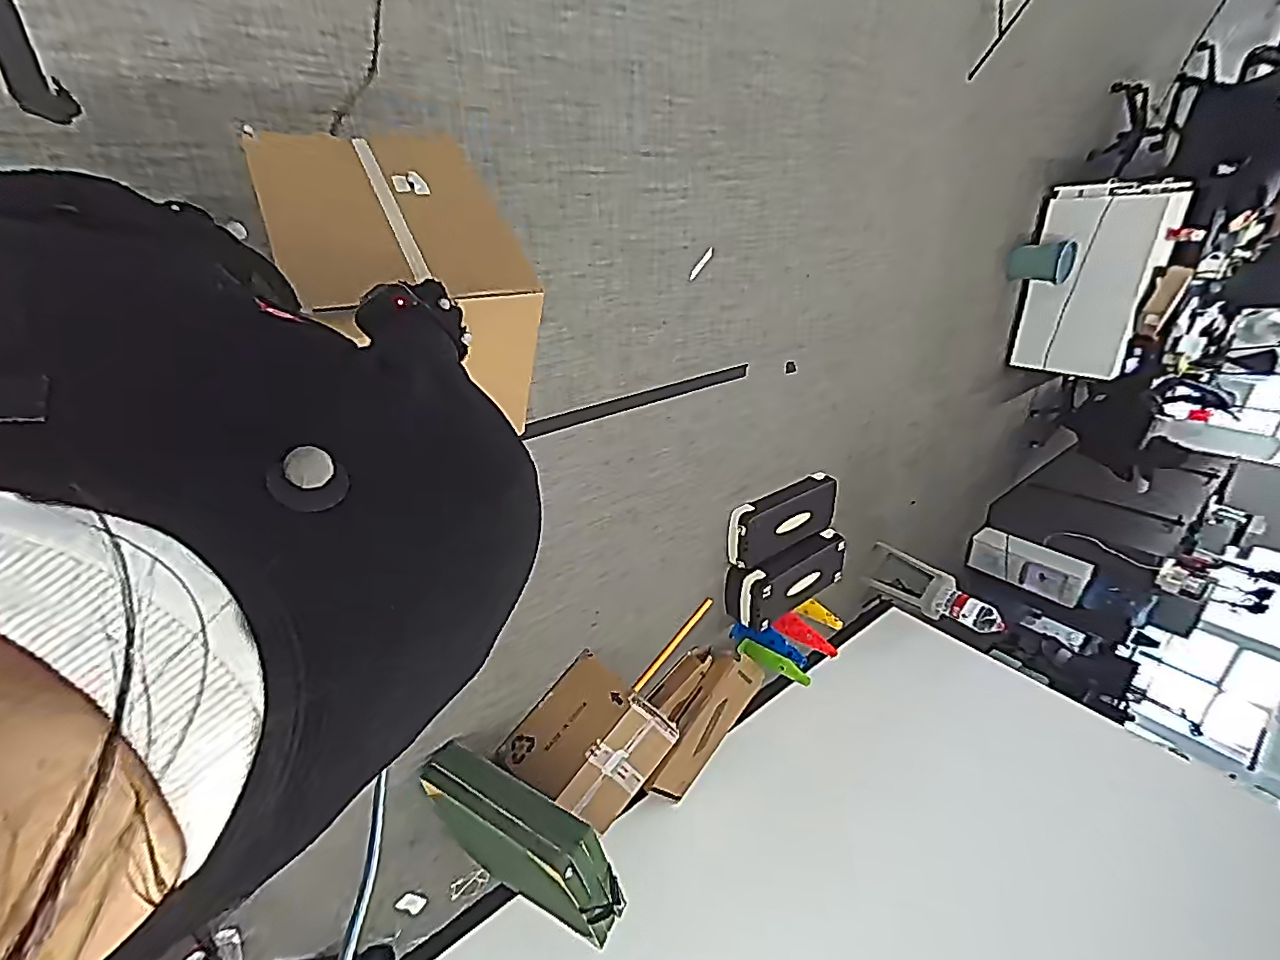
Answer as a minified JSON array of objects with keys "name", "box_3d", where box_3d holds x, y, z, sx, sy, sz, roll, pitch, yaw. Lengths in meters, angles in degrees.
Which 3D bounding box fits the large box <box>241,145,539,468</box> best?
[{"name":"large box","box_3d":[-0.403,-0.290,0.898,0.320,0.408,0.320,-16,150,-30]}]
